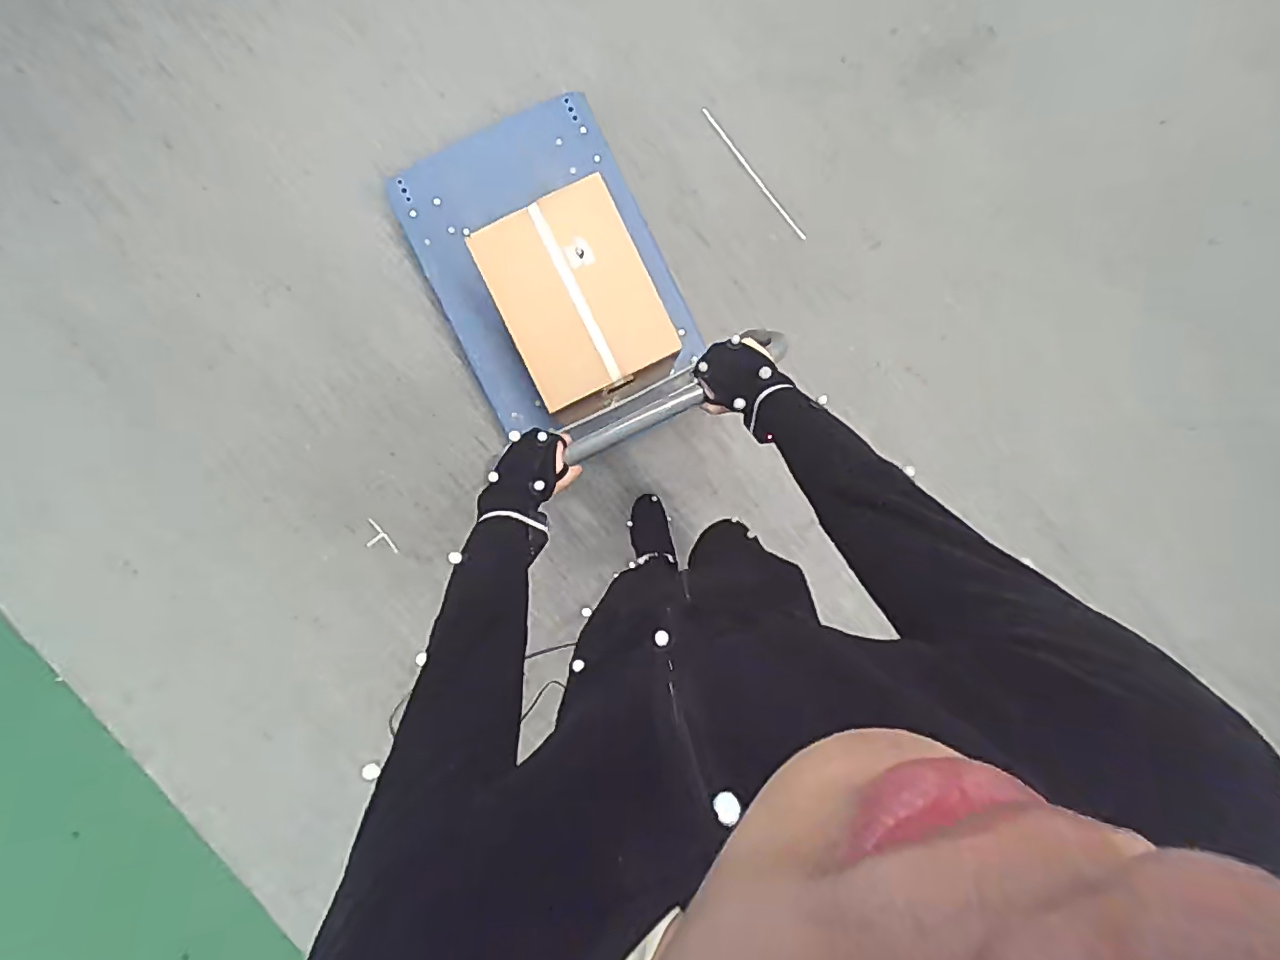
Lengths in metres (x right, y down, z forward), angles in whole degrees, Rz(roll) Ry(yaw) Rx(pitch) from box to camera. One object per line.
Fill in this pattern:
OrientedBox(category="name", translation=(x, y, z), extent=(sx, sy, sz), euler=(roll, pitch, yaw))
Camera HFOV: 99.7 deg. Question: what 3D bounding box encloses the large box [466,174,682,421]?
OrientedBox(category="large box", translation=(-0.135, -0.392, 1.265), extent=(0.320, 0.320, 0.408), euler=(-27, 91, -1))
